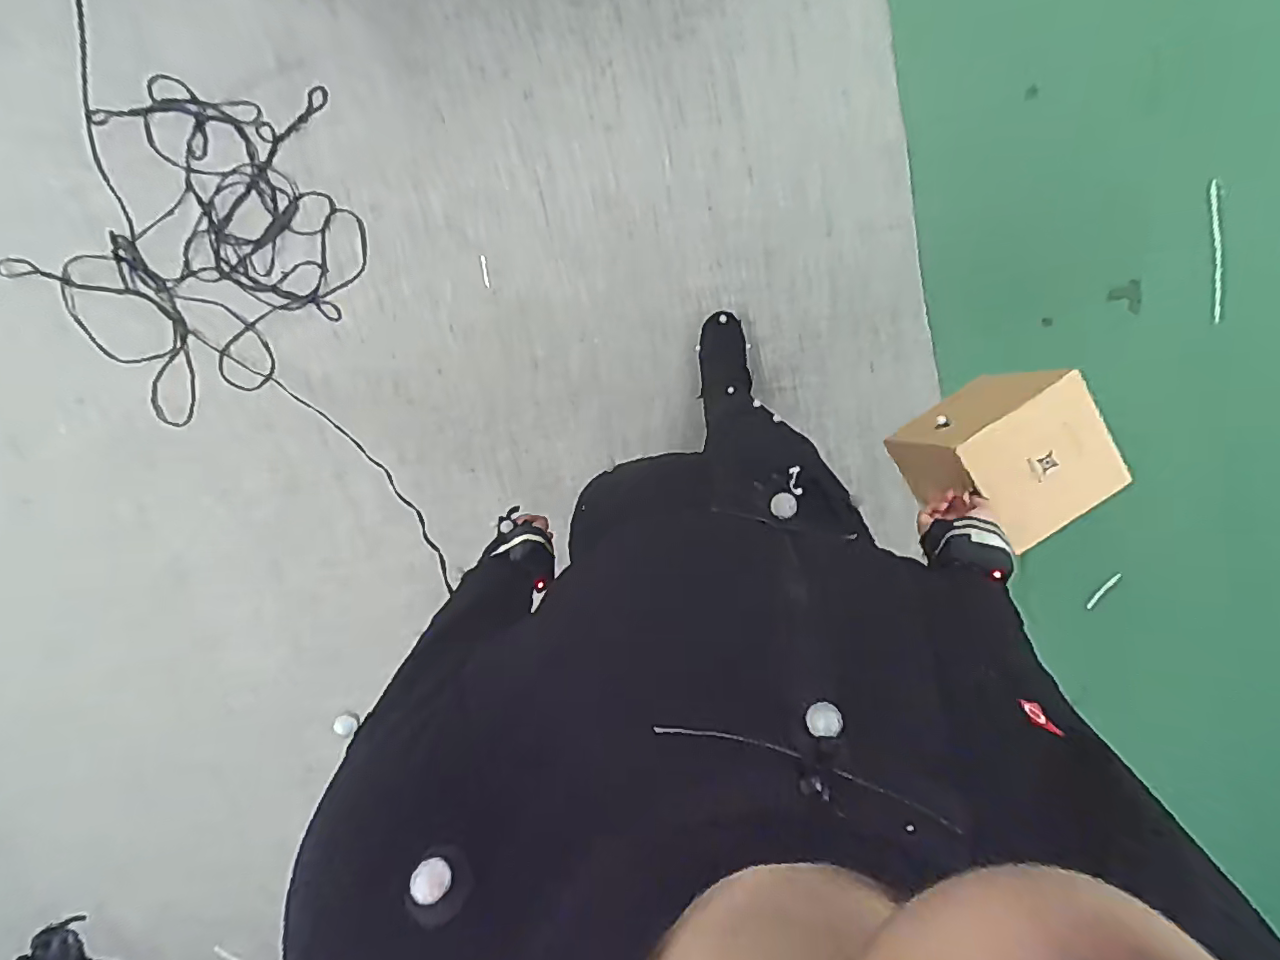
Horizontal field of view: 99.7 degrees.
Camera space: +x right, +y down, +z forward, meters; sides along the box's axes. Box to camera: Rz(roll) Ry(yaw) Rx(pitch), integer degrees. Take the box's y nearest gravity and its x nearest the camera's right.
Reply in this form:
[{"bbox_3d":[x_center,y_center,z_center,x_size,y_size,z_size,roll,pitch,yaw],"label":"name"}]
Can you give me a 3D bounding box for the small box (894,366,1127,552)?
[{"bbox_3d":[0.479,-0.032,0.733,0.179,0.176,0.168,-36,99,-1],"label":"small box"}]
